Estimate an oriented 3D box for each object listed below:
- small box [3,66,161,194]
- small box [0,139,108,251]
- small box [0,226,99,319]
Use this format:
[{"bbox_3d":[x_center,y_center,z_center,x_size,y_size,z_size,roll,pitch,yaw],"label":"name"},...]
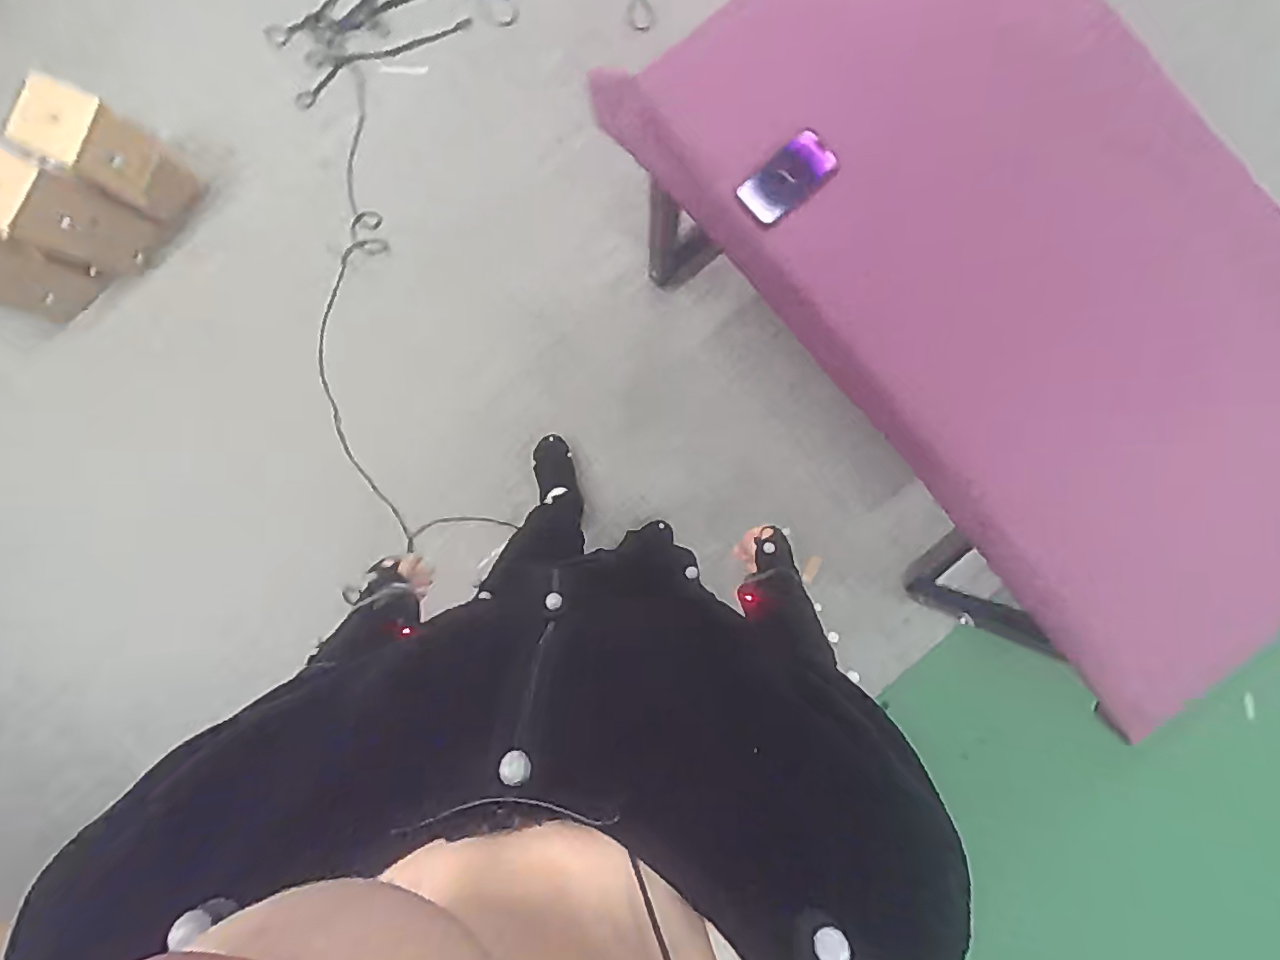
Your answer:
[{"bbox_3d":[-1.307,-0.815,1.282,0.179,0.176,0.168,24,90,2],"label":"small box"},{"bbox_3d":[-1.447,-0.677,1.285,0.179,0.176,0.168,32,90,1],"label":"small box"},{"bbox_3d":[-1.625,-0.567,1.449,0.179,0.176,0.168,-41,89,1],"label":"small box"}]
